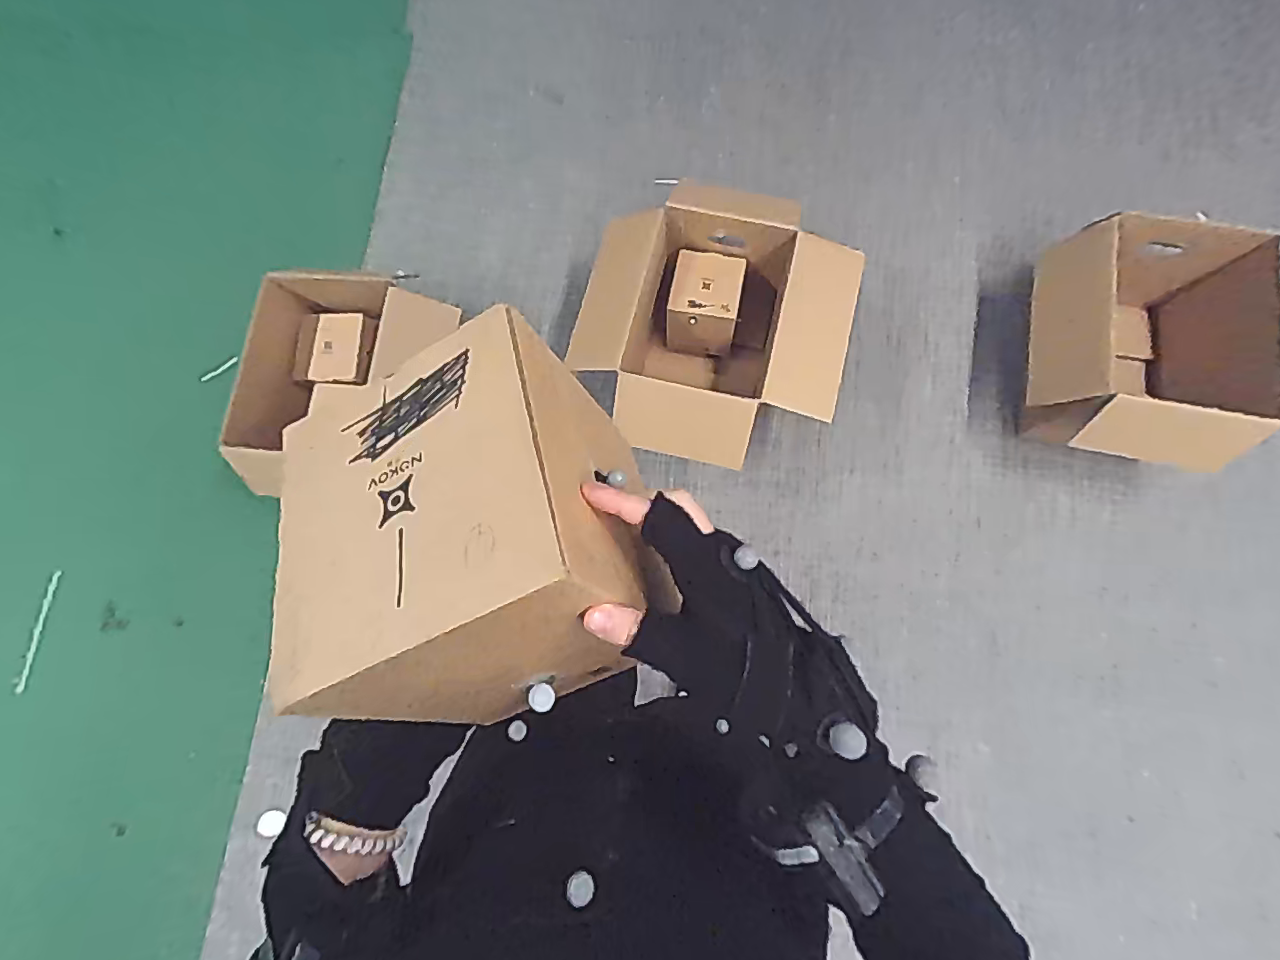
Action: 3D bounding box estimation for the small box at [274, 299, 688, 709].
[{"bbox_3d":[-0.089,0.030,0.346,0.168,0.176,0.179,-26,58,12],"label":"small box"}]
